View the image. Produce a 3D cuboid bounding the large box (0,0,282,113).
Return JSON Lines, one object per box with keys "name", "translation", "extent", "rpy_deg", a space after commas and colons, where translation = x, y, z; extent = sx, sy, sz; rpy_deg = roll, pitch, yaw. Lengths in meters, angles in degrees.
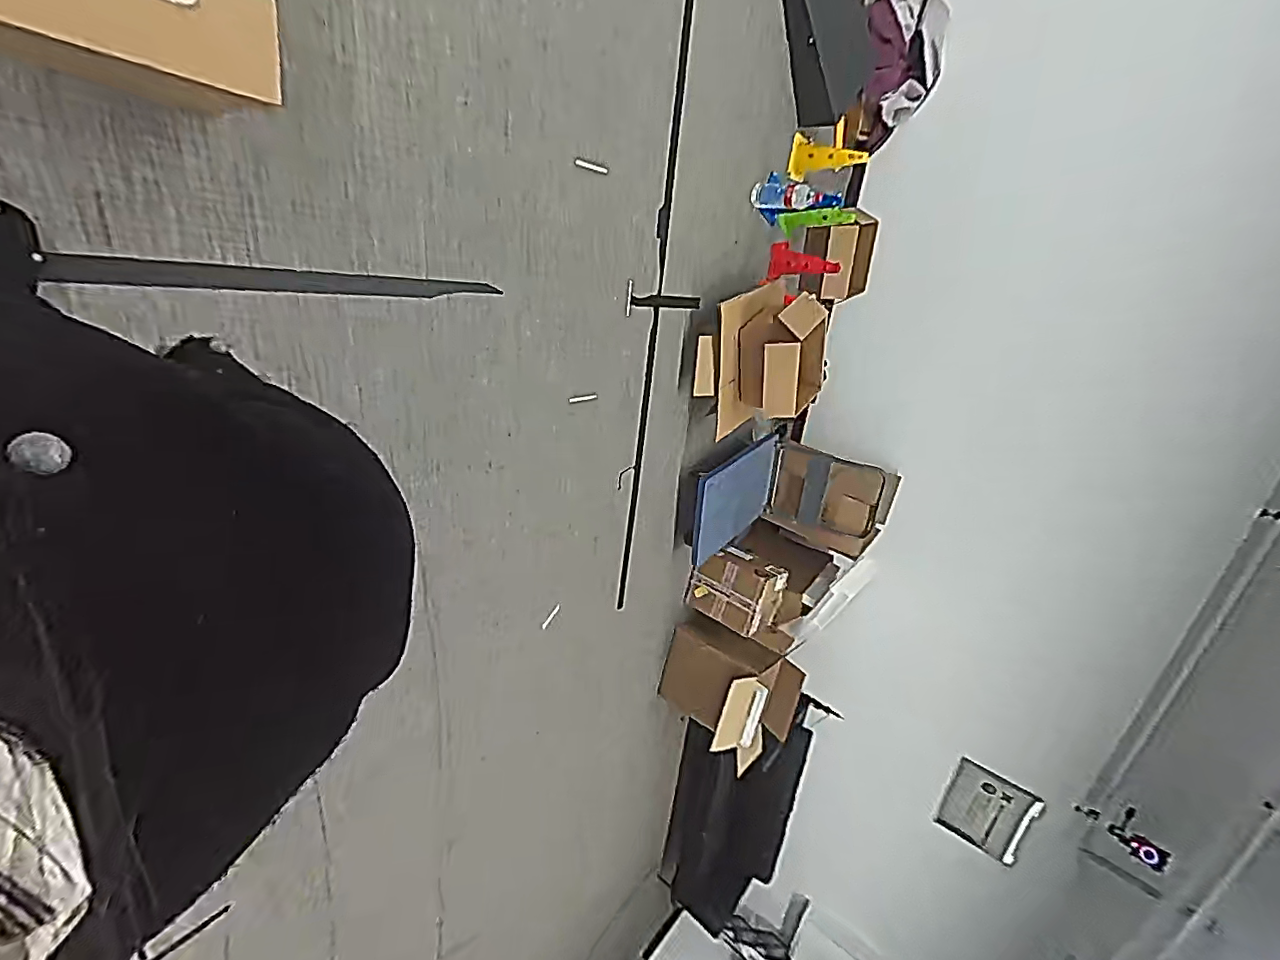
{"name": "large box", "translation": [-0.814, -0.773, 0.776], "extent": [0.408, 0.320, 0.320], "rpy_deg": [-18, 123, -51]}
